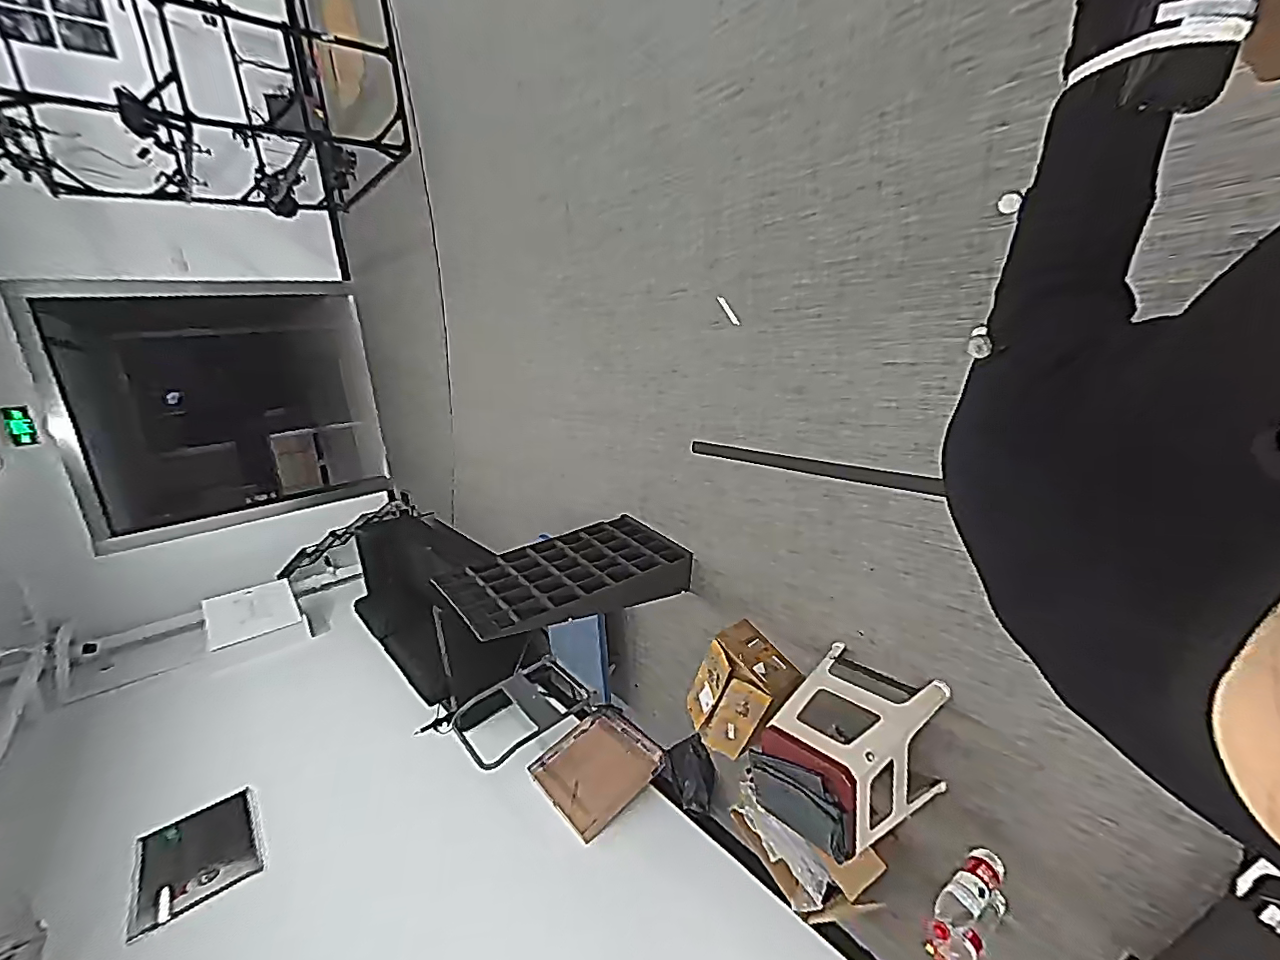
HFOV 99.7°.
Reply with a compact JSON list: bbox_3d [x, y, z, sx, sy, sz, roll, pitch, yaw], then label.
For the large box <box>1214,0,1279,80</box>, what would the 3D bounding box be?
[{"bbox_3d":[0.580,-0.451,0.236,0.408,0.320,0.320,15,118,49],"label":"large box"}]
